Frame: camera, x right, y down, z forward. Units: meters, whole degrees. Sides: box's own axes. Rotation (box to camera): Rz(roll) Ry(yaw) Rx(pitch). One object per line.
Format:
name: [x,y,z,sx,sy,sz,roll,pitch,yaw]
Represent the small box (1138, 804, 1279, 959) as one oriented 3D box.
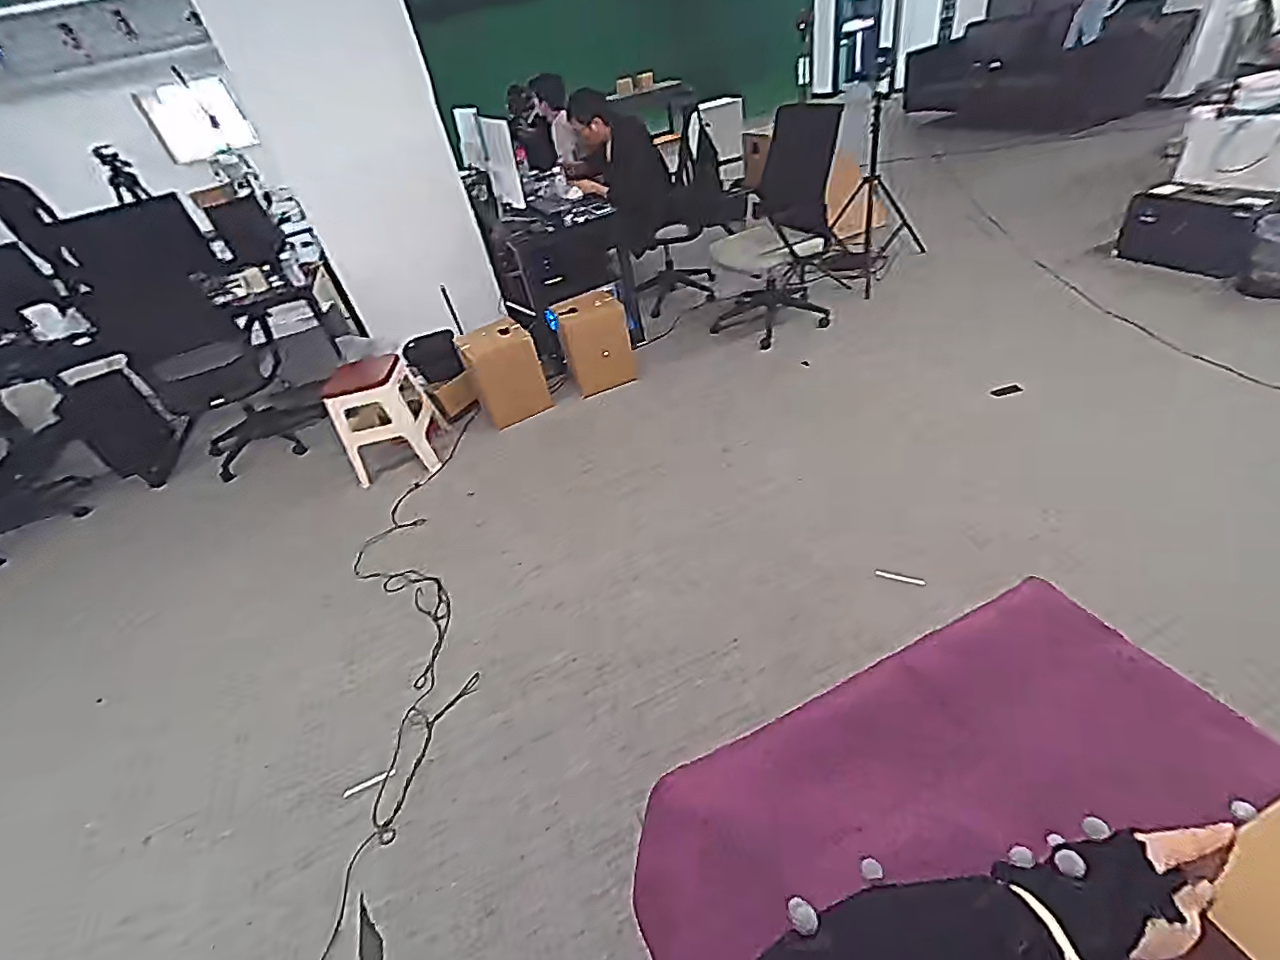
small box: [0.500,0.329,0.357,0.176,0.168,0.179,-32,37,-2]
